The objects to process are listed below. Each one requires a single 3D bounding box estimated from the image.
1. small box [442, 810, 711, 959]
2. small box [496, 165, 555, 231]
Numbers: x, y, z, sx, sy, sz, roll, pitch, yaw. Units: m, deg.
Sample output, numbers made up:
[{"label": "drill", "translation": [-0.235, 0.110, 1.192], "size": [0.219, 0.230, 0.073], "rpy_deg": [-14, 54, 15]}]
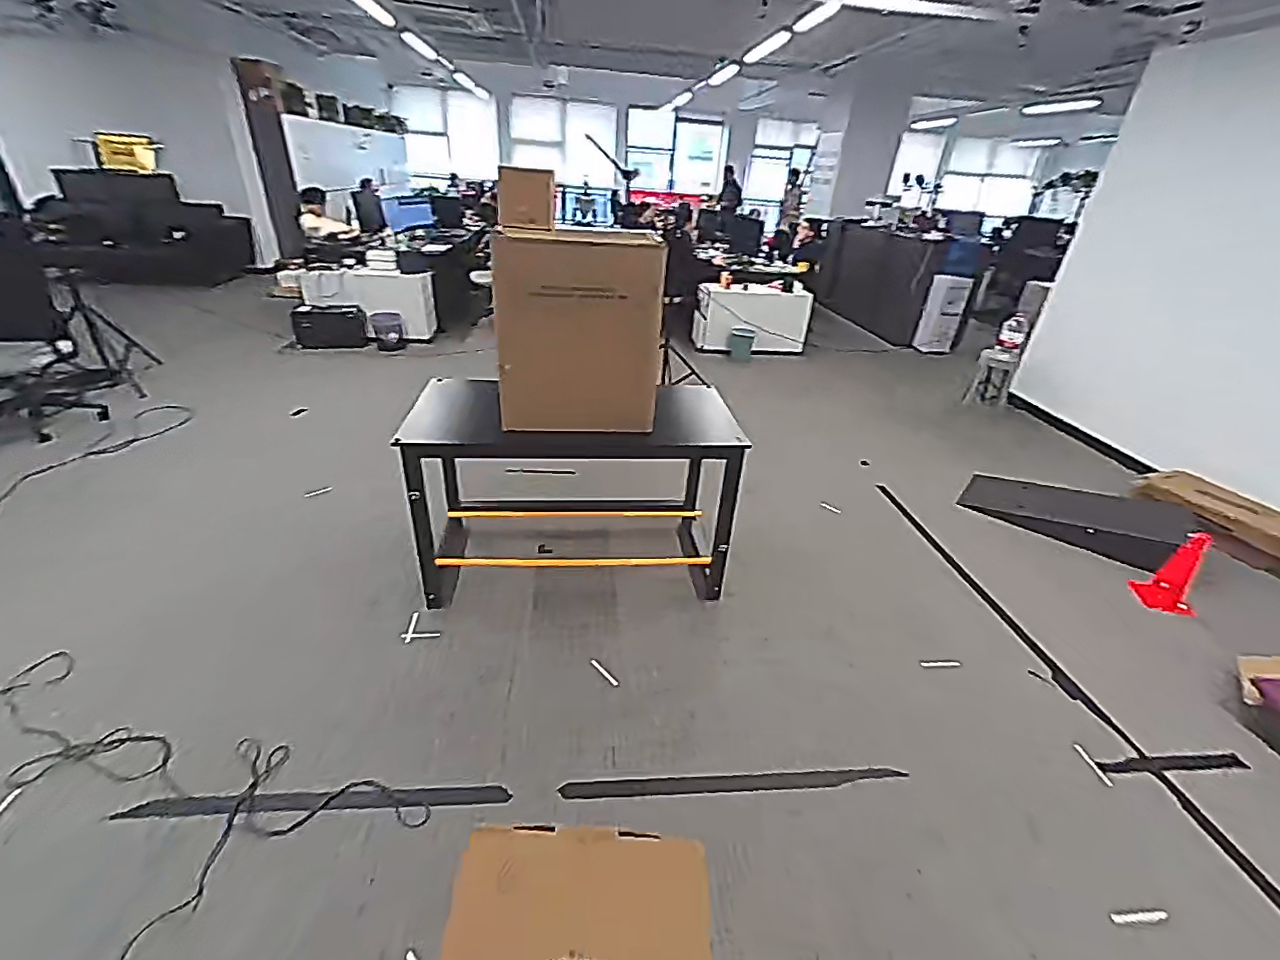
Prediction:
[{"label": "small box", "translation": [-0.043, 0.356, 0.372], "size": [0.168, 0.176, 0.179], "rpy_deg": [3, 42, -1]}, {"label": "small box", "translation": [-0.362, -0.902, 1.733], "size": [0.168, 0.176, 0.179], "rpy_deg": [2, 29, -5]}]
